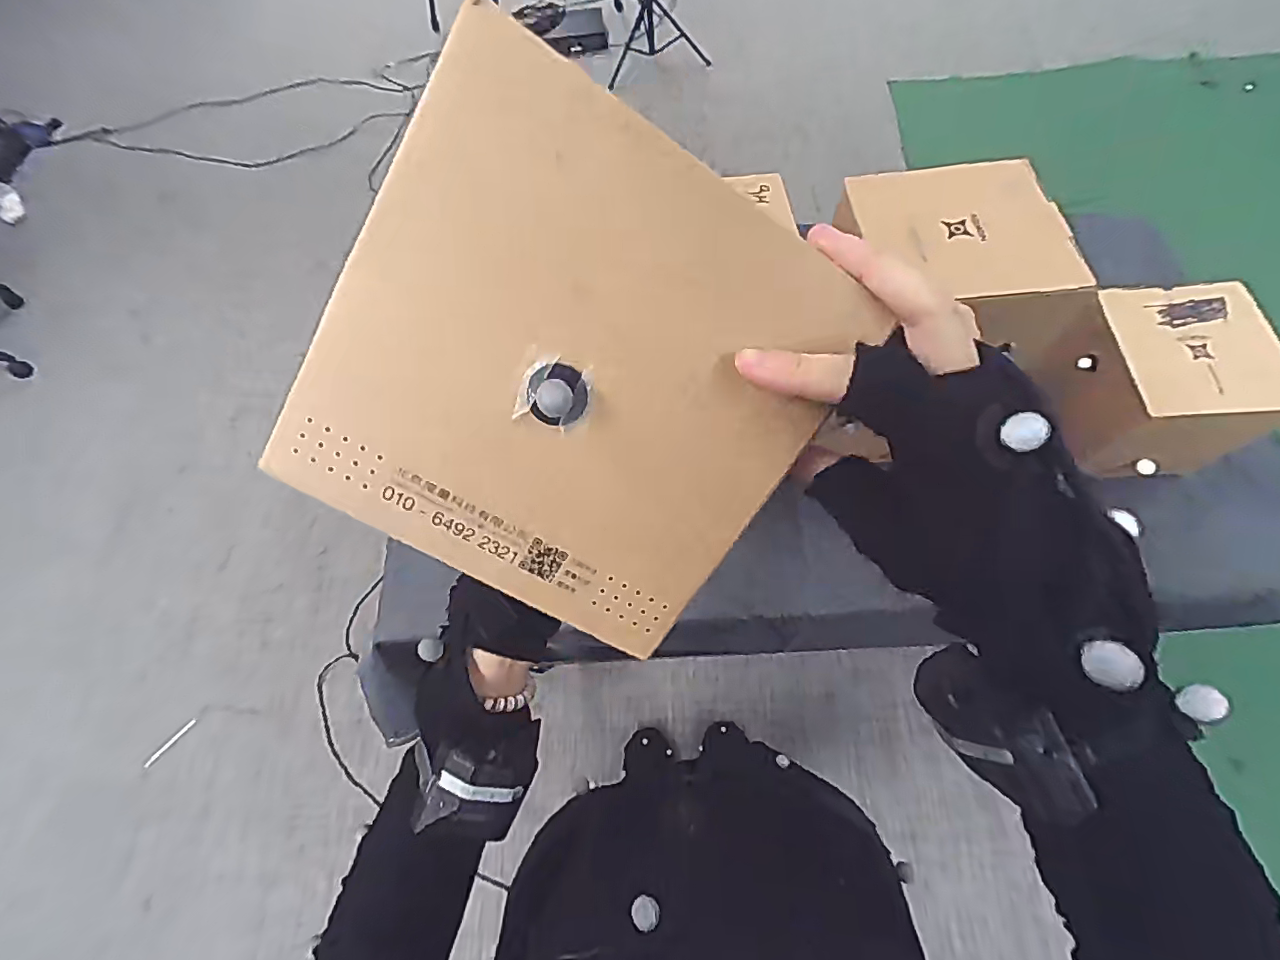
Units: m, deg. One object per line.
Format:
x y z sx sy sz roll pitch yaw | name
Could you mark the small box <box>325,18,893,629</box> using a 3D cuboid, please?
-0.024 -0.058 0.274 0.168 0.179 0.176 30 104 -13 | small box
